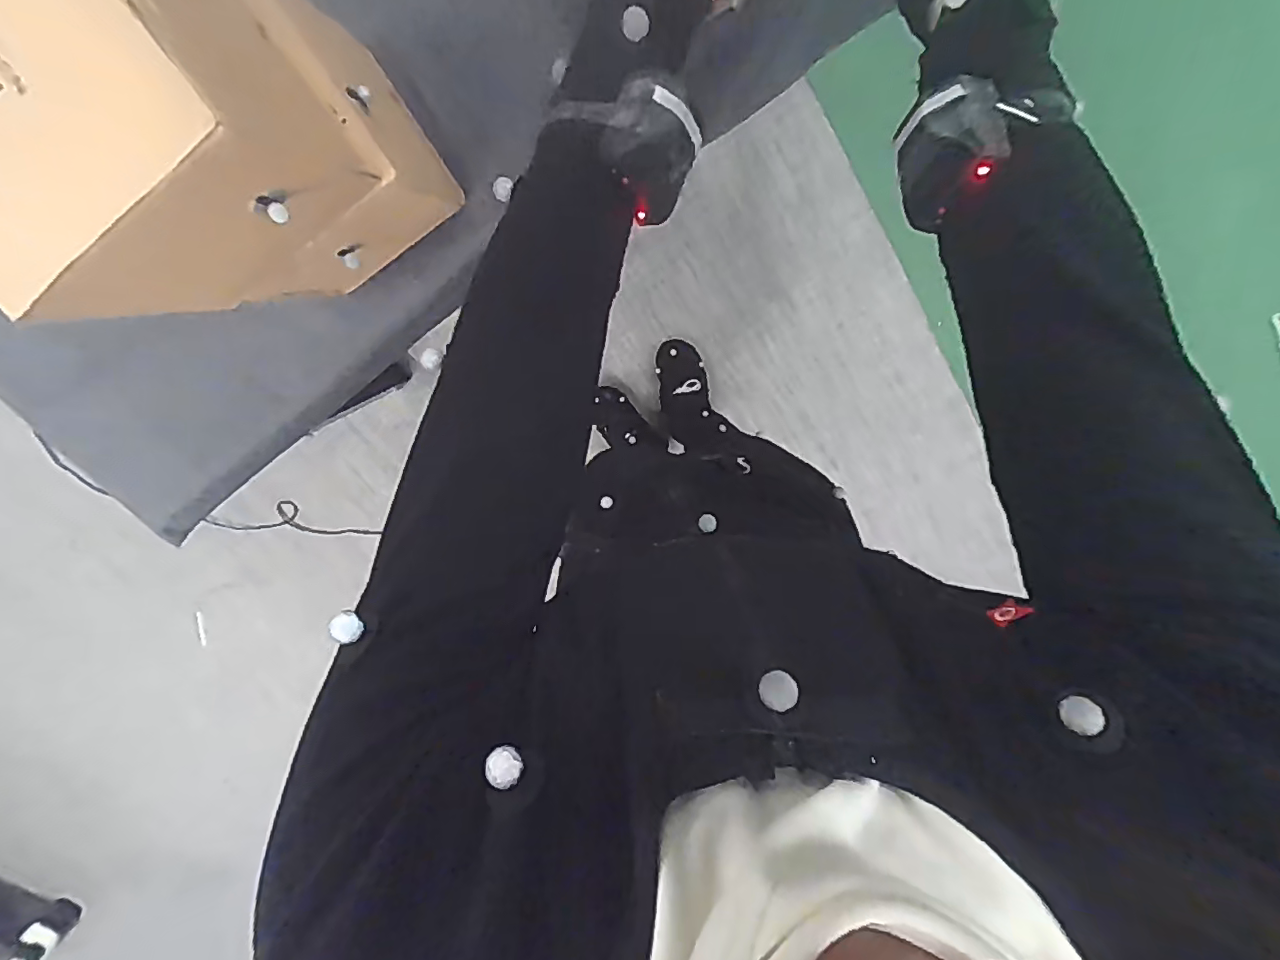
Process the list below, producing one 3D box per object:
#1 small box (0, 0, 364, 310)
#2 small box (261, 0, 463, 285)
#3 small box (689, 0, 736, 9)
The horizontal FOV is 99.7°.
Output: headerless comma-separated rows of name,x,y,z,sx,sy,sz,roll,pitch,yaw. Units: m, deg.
small box,-0.314,-0.231,0.344,0.179,0.176,0.168,-31,105,14
small box,-0.298,-0.293,0.494,0.179,0.176,0.168,-29,107,13
small box,0.082,-0.499,0.390,0.168,0.176,0.179,-24,102,12
